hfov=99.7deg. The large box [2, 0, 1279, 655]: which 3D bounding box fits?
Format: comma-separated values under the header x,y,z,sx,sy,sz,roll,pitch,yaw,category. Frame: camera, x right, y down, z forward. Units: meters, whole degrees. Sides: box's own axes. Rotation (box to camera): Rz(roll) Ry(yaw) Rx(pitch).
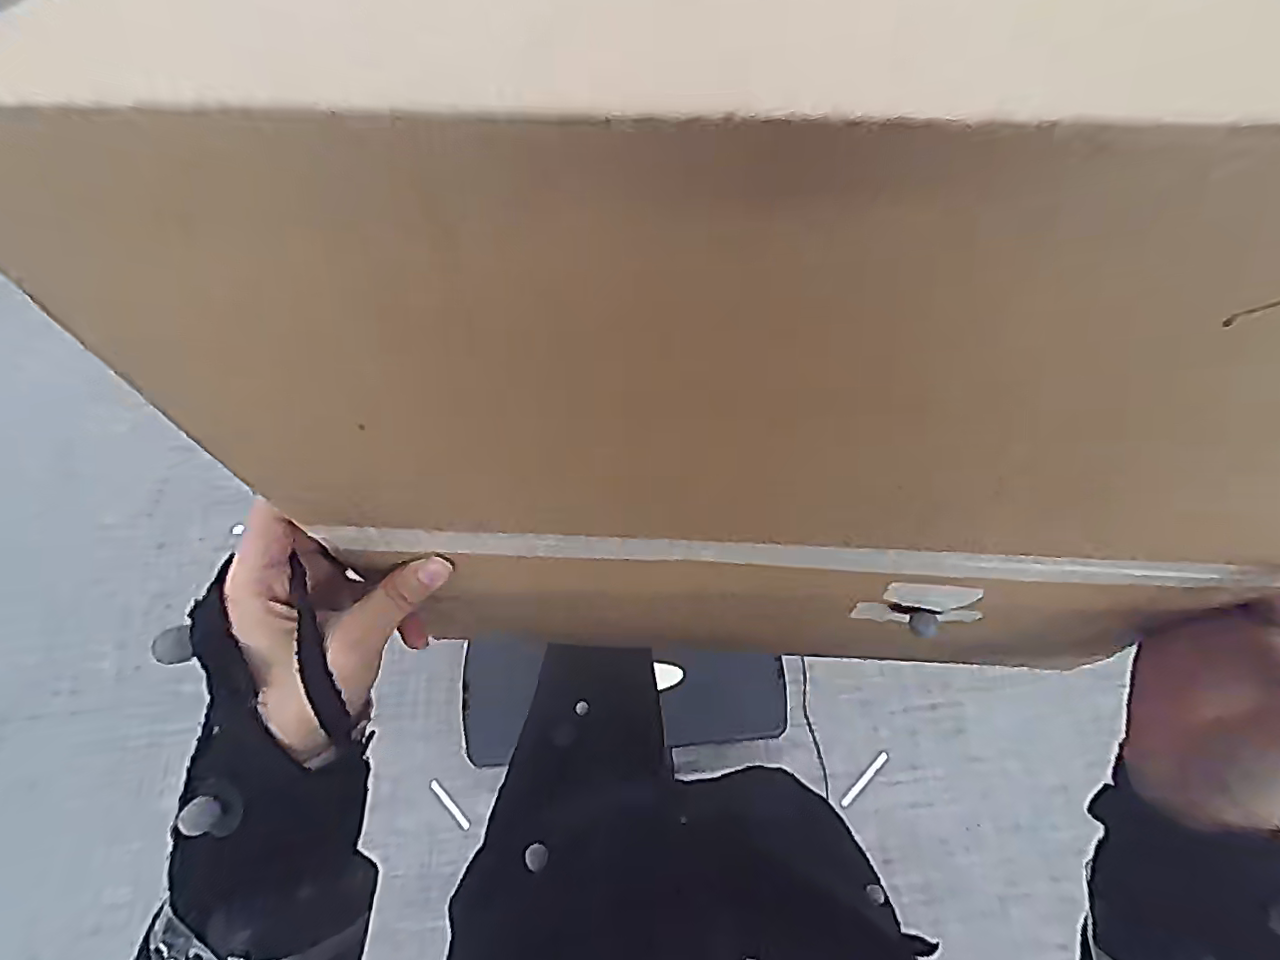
x,y,z,sx,sy,sz,roll,pitch,yaw,category
0.065,-0.099,0.311,0.408,0.320,0.320,1,58,2,large box
